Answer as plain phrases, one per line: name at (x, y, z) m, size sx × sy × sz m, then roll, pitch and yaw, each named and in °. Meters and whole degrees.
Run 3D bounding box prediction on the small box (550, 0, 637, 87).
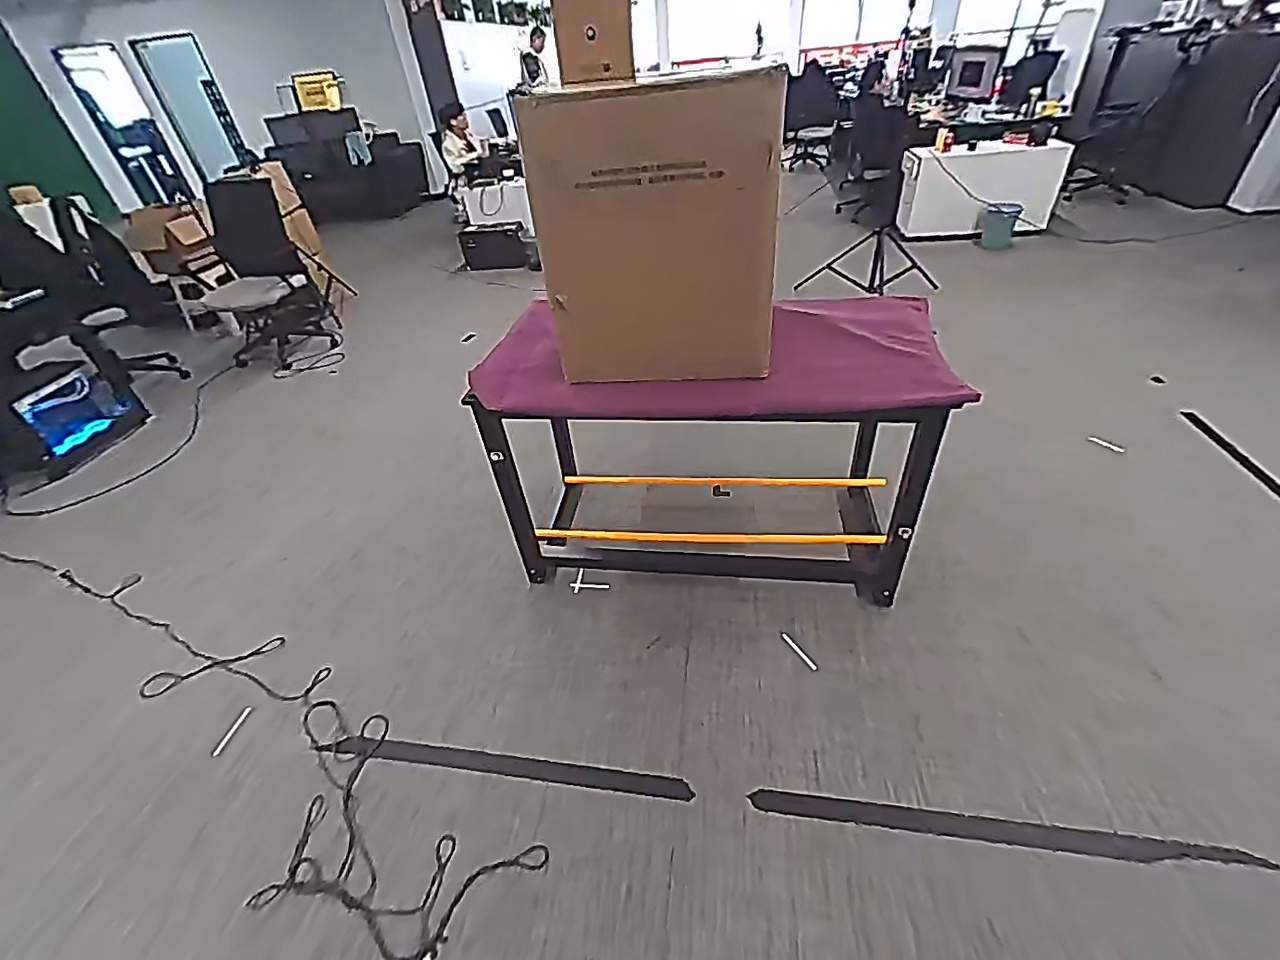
small box at (-0.094, -0.971, 1.182) m, size 0.168 × 0.176 × 0.179 m, roll -3°, pitch 39°, yaw 2°
